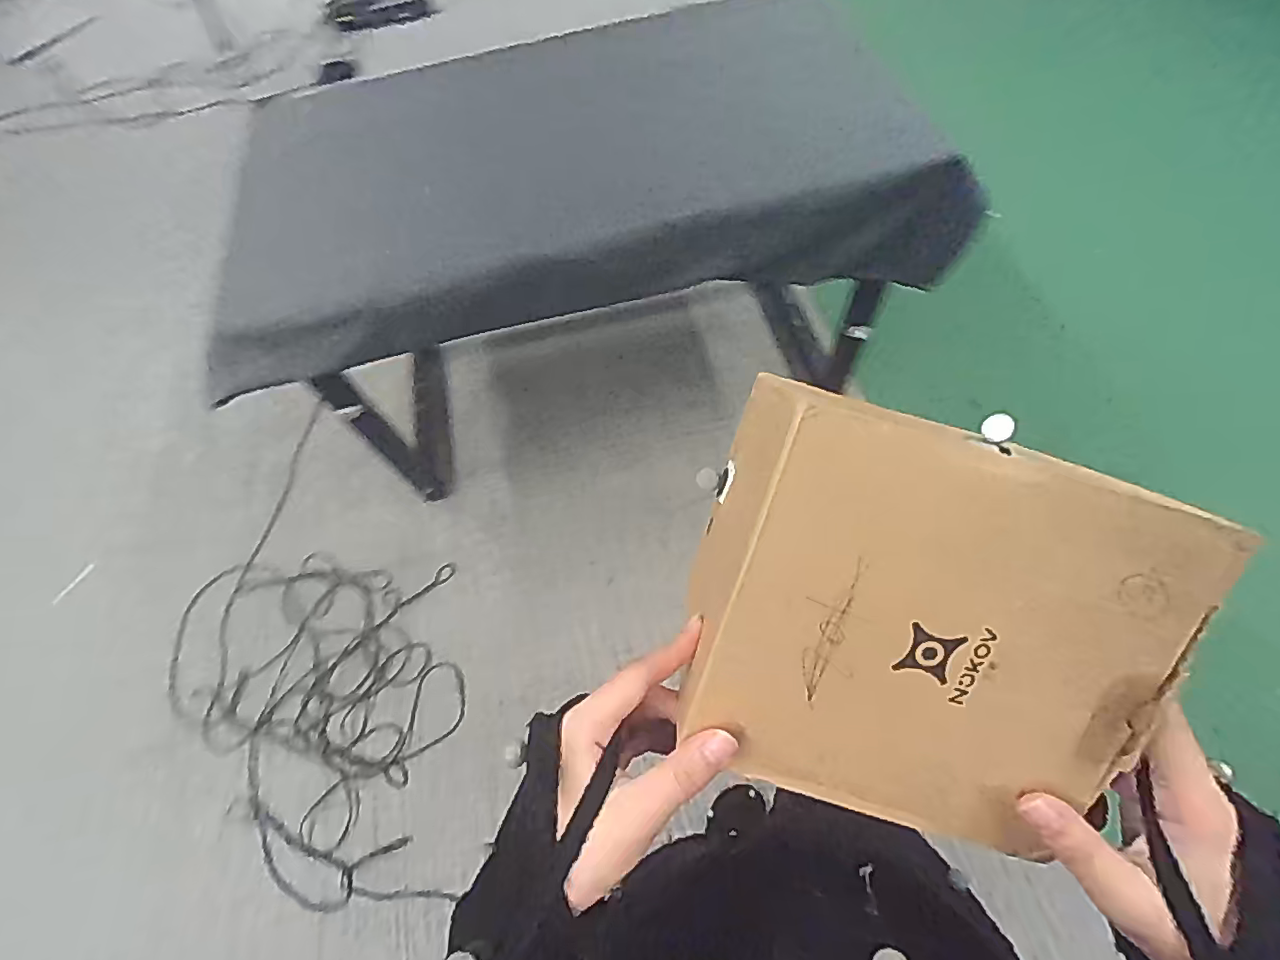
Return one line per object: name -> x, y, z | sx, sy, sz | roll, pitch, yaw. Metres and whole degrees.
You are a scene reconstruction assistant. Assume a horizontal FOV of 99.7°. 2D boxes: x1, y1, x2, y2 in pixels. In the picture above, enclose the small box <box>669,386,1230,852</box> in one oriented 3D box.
small box -> 0.122, 0.049, 0.297 | 0.179, 0.176, 0.168 | 15, 104, 2
